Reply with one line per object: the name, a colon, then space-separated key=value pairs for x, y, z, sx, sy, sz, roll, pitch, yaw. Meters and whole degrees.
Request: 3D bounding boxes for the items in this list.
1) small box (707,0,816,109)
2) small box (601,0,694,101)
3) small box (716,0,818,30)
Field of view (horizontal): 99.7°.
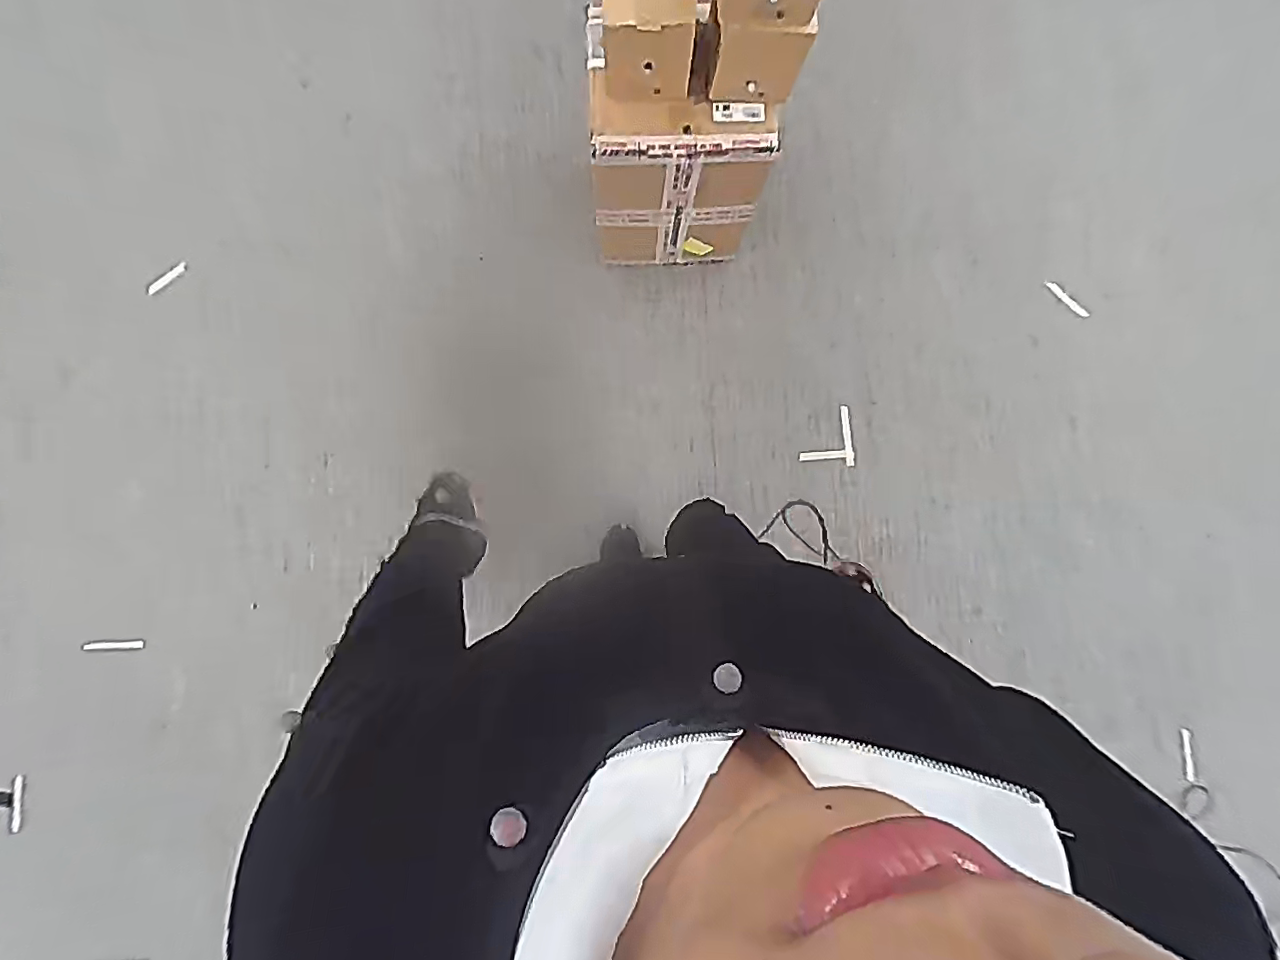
small box: x=0.224 y=-0.859 z=1.035 sx=0.168 sy=0.176 sz=0.179 roll=0 pitch=87 yaw=-3
small box: x=0.015 y=-0.860 z=1.027 sx=0.168 sy=0.176 sz=0.179 roll=0 pitch=87 yaw=-1
small box: x=0.216 y=-0.882 z=0.871 sx=0.168 sy=0.176 sz=0.179 roll=-2 pitch=86 yaw=-4
